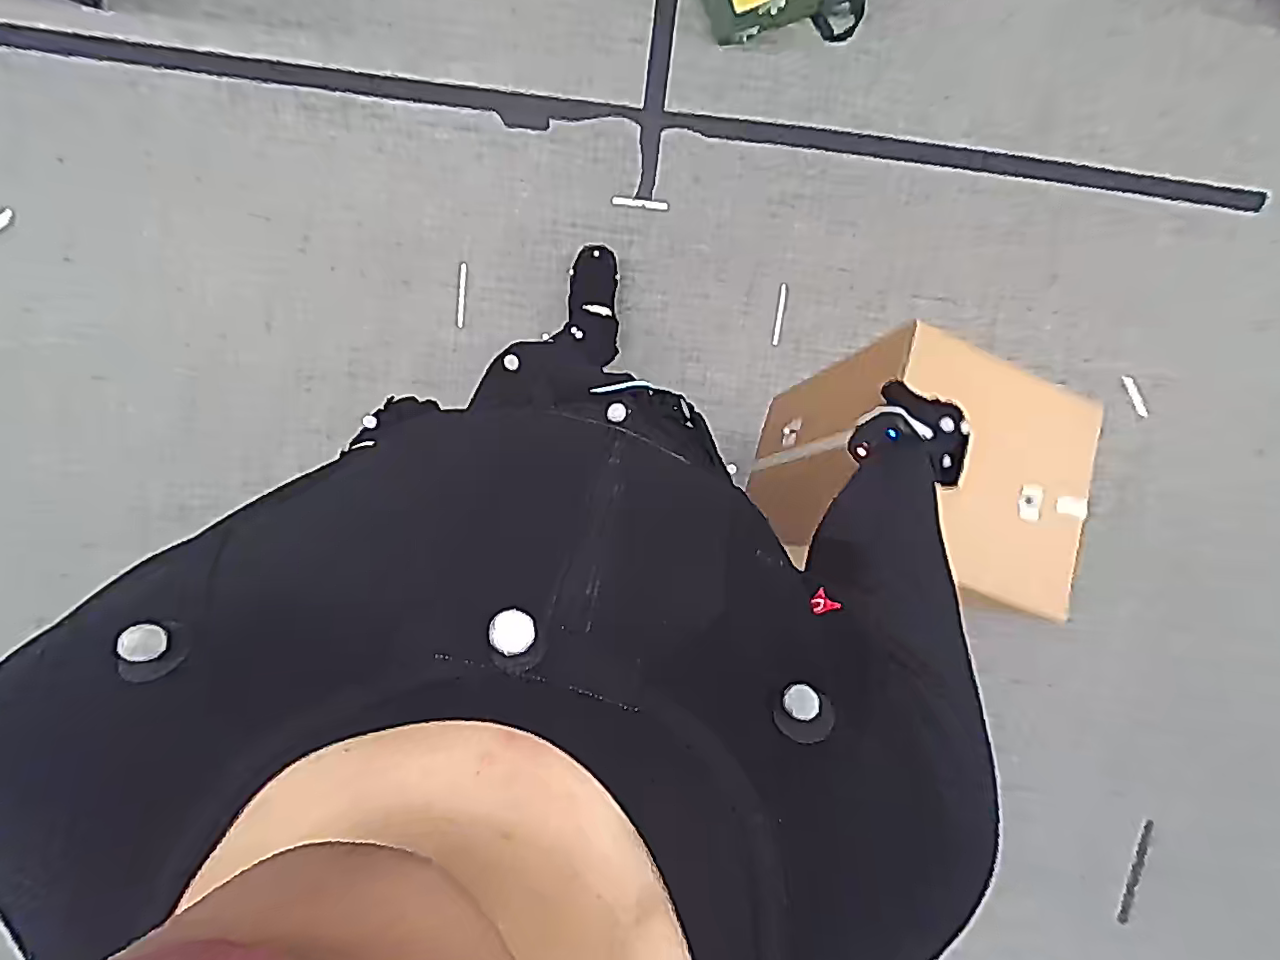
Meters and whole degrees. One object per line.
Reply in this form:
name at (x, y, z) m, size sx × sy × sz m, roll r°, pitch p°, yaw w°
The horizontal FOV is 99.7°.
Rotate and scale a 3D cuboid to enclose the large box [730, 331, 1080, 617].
large box at (0.403, 0.016, 0.903) m, size 0.320 × 0.408 × 0.320 m, roll 23°, pitch 80°, yaw -9°
